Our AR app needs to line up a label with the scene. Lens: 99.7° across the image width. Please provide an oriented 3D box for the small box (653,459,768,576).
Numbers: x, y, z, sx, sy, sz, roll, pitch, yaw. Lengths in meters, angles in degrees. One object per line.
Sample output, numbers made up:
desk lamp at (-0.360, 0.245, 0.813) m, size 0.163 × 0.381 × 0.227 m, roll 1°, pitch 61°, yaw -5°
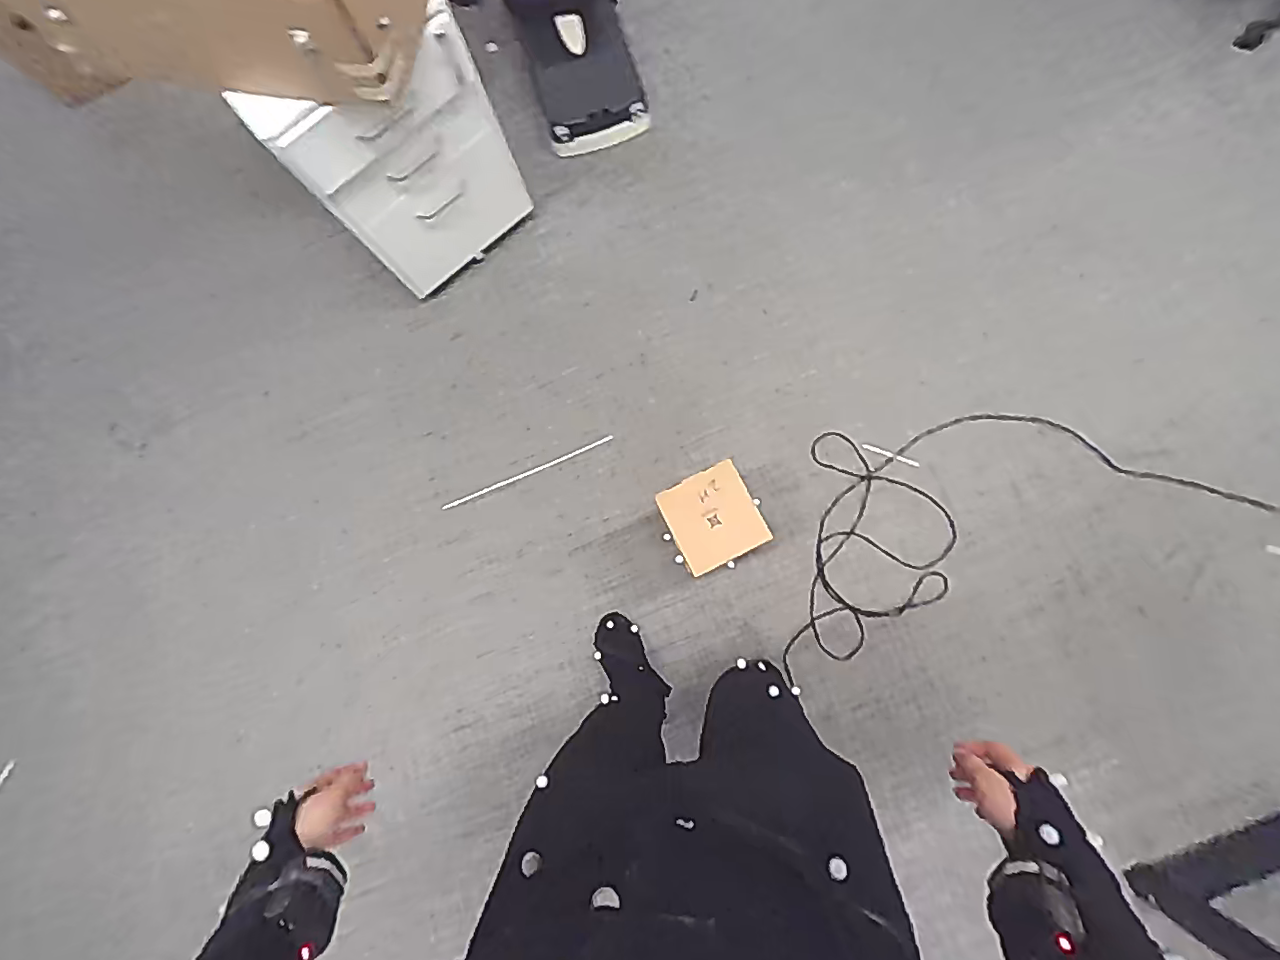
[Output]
small box at (0.141, 0.082, 1.105) m, size 0.168 × 0.176 × 0.179 m, roll -27°, pitch 79°, yaw 0°
